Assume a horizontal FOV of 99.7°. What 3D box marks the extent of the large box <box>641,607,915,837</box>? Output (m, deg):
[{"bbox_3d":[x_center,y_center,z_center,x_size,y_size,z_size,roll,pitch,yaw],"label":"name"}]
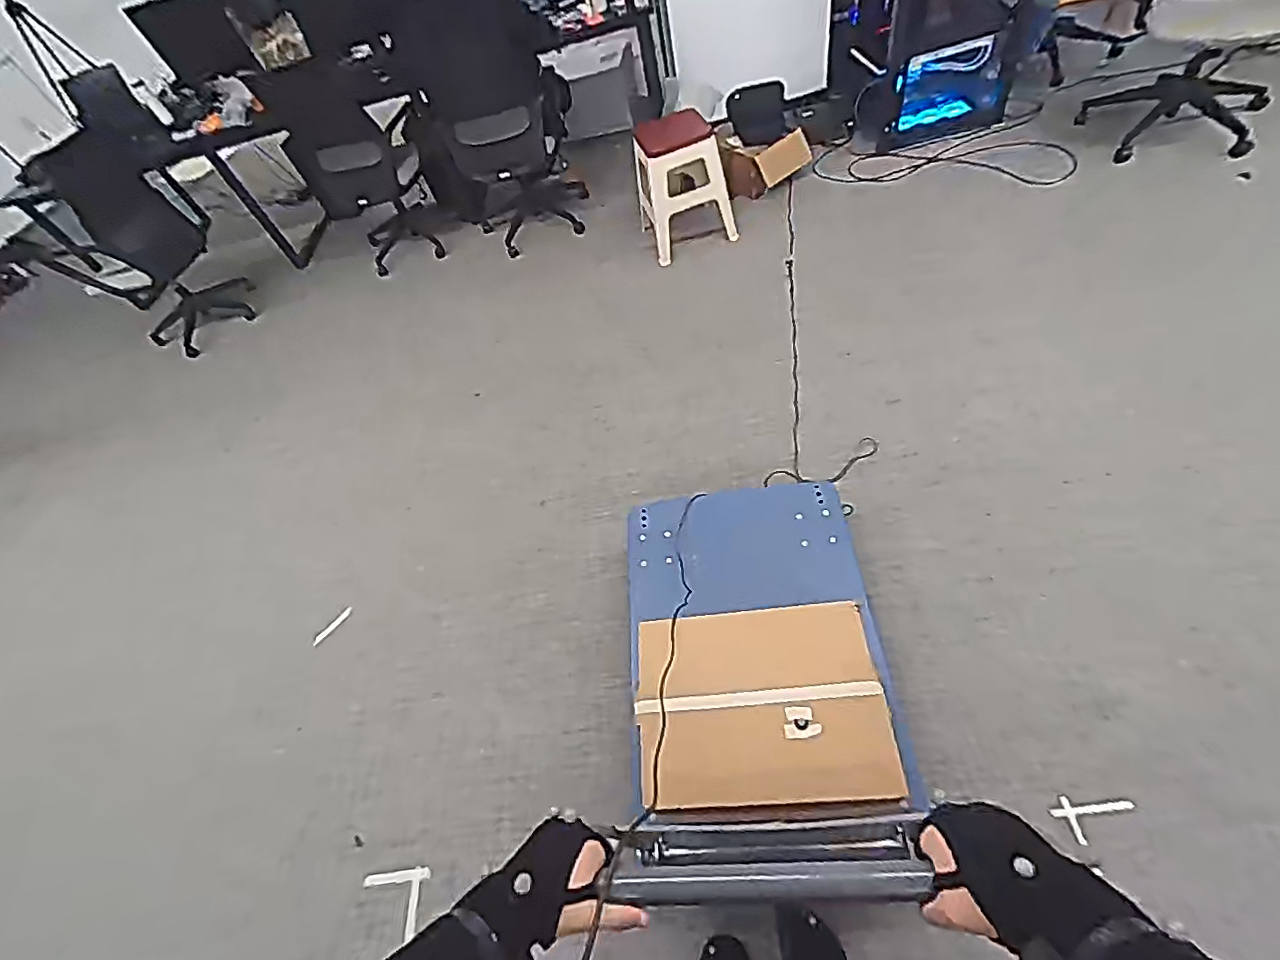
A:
[{"bbox_3d":[0.229,0.464,1.011,0.408,0.320,0.320,-8,53,8],"label":"large box"}]
